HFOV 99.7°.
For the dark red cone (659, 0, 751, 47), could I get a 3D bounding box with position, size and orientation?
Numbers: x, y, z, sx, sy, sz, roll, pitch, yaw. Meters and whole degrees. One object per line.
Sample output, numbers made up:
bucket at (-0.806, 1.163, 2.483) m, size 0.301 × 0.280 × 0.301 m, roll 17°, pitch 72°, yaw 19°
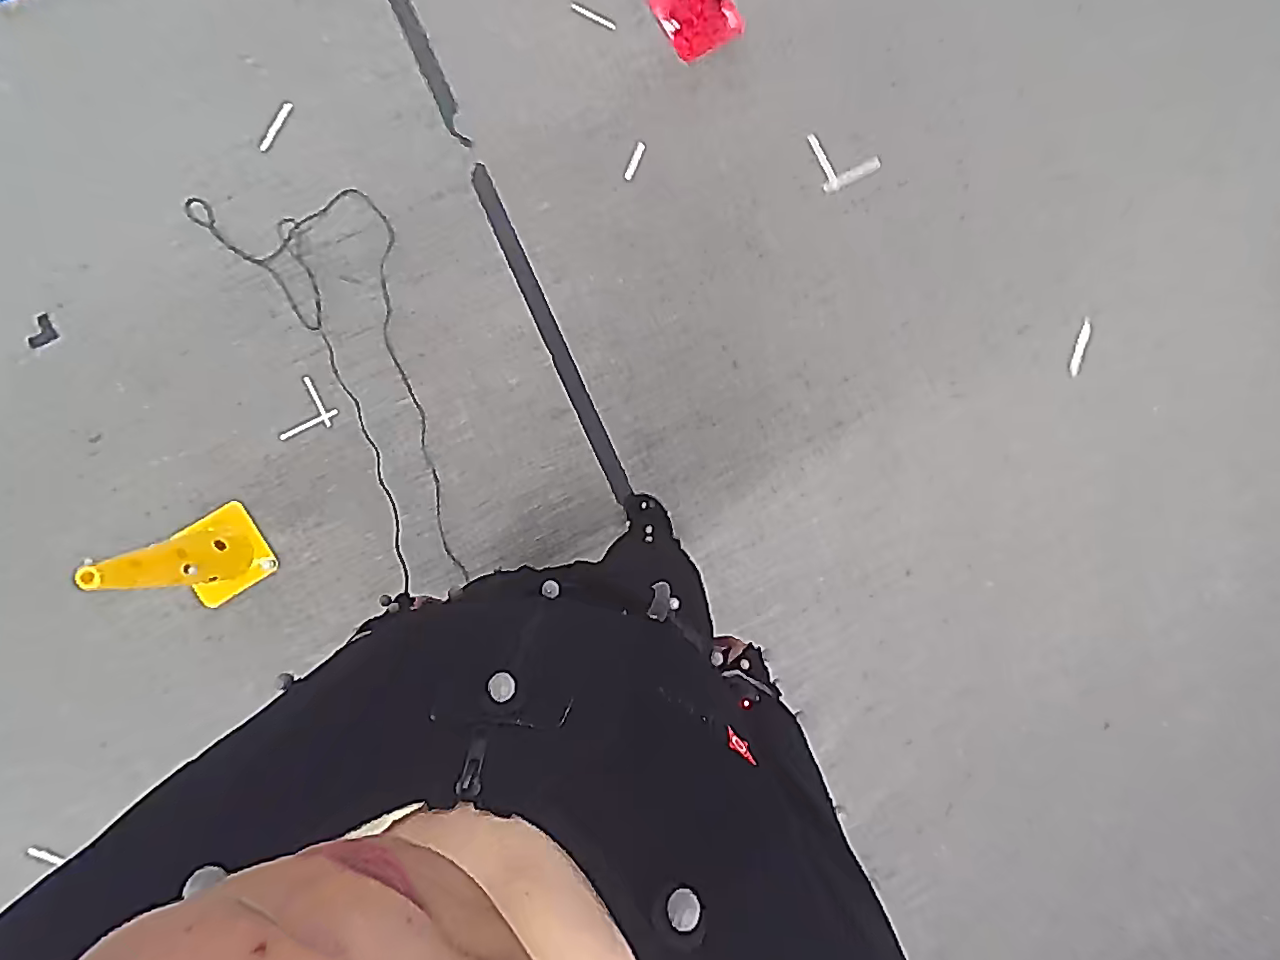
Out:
dark red cone at (0.168, -1.234, 1.223) m, size 0.201 × 0.394 × 0.202 m, roll -32°, pitch 91°, yaw -2°
